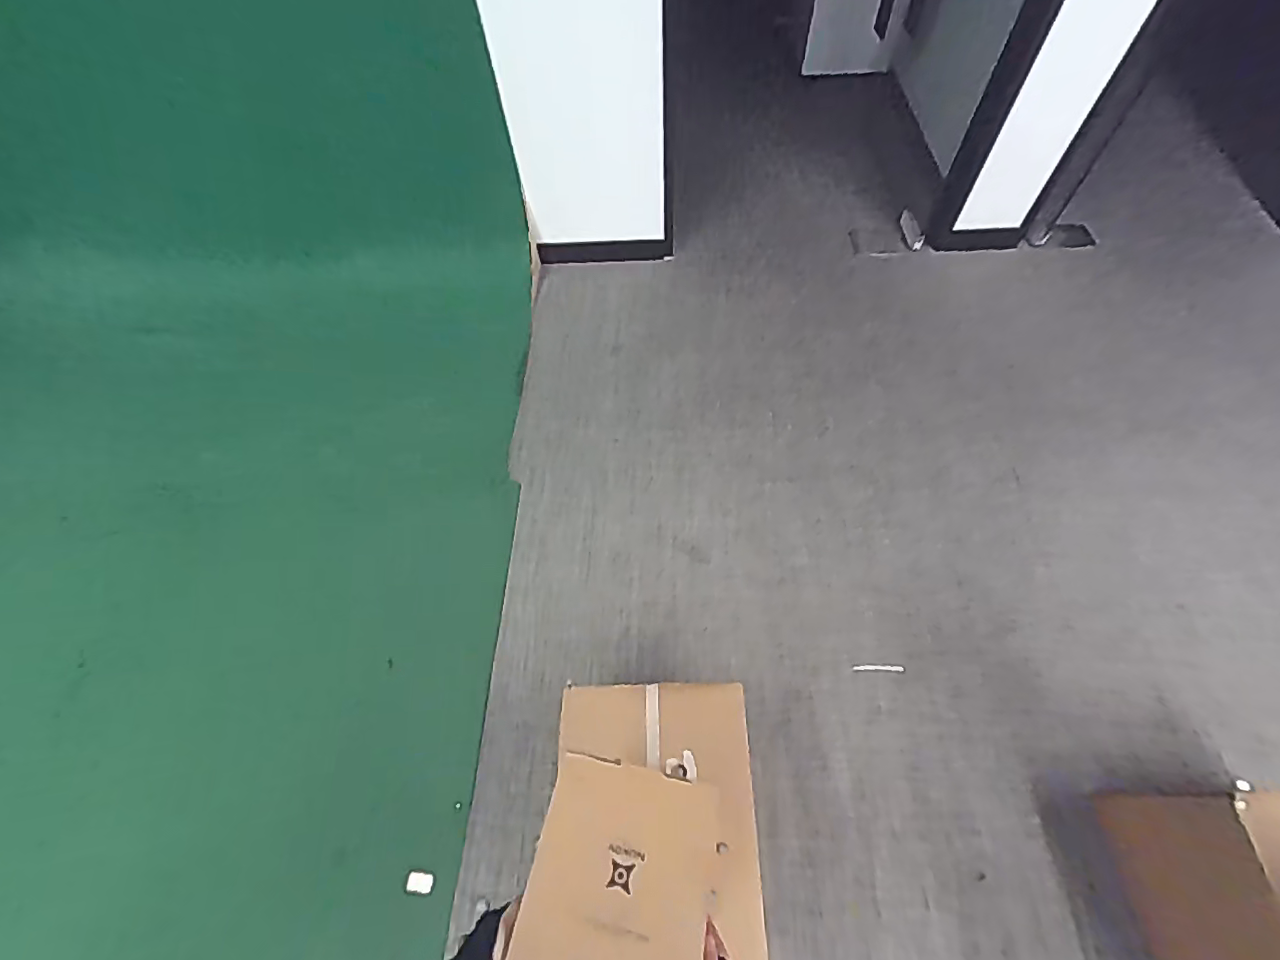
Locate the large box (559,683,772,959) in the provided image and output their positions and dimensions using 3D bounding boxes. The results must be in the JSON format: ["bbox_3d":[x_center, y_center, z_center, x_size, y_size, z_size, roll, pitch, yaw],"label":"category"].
[{"bbox_3d":[0.038,0.605,0.959,0.320,0.320,0.408,-2,58,3],"label":"large box"}]

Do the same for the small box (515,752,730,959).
[{"bbox_3d":[-0.006,0.412,0.559,0.168,0.176,0.179,9,53,12],"label":"small box"}]
